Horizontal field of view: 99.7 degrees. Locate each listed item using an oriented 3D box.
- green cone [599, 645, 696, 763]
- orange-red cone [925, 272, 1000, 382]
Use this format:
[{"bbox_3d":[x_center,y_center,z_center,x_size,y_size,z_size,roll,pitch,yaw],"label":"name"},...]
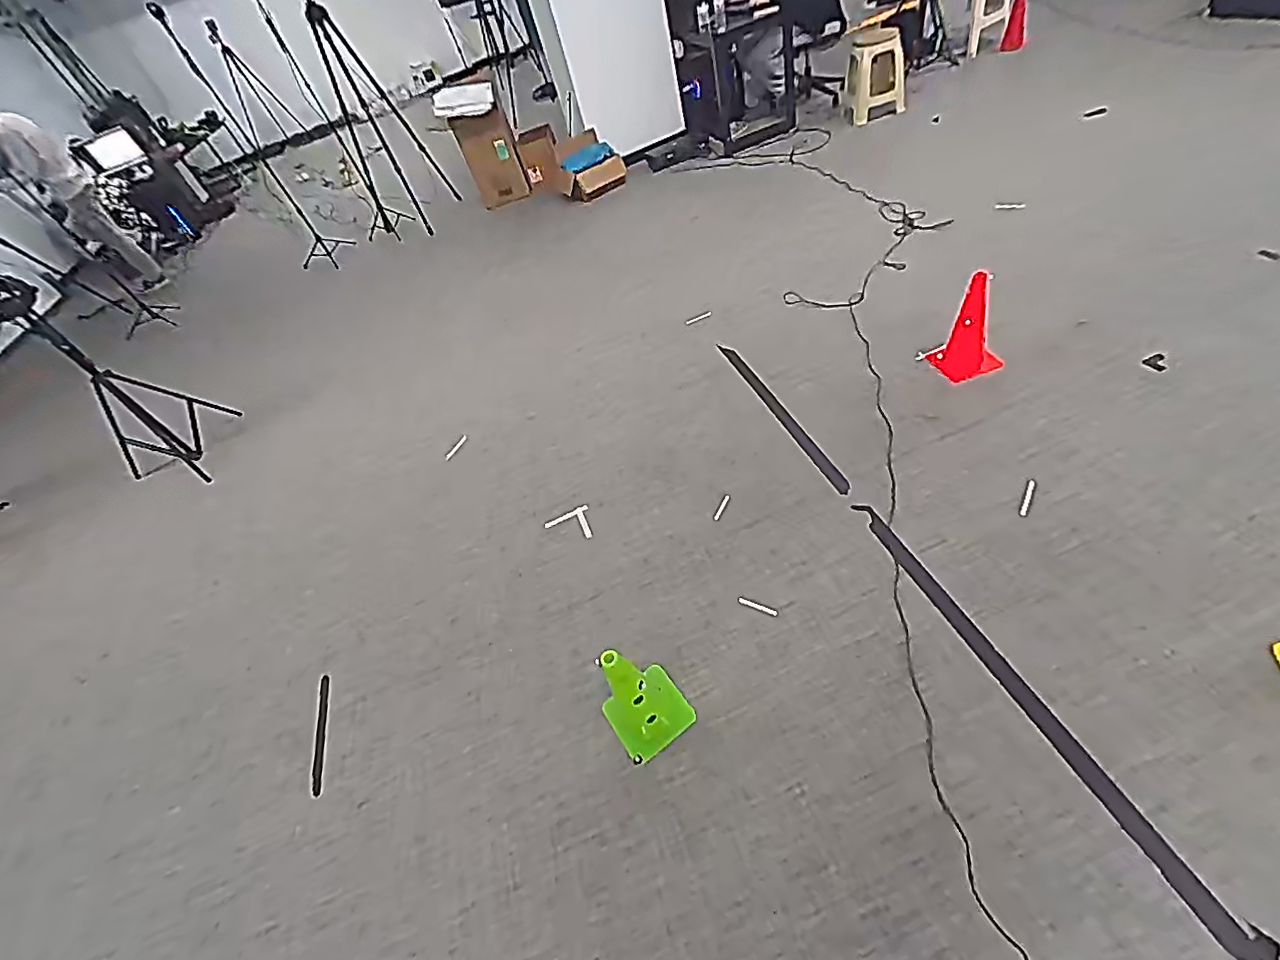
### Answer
[{"bbox_3d":[-0.021,0.510,1.336,0.200,0.368,0.202,-35,45,-14],"label":"green cone"},{"bbox_3d":[1.160,-0.558,1.900,0.198,0.360,0.199,-19,46,3],"label":"orange-red cone"}]
